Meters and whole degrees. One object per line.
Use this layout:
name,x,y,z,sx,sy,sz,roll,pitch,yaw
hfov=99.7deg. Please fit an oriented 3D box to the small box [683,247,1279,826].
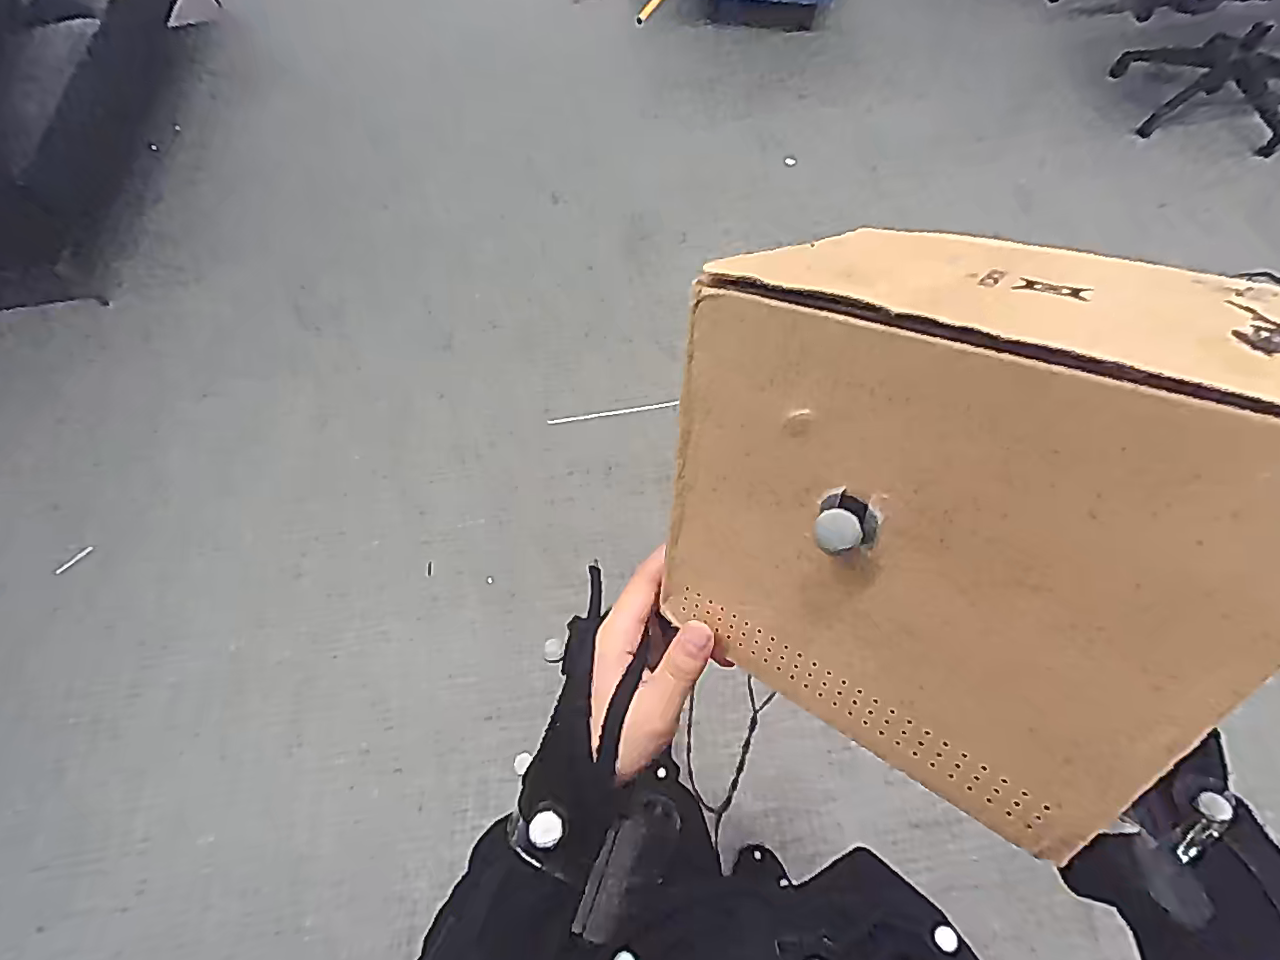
small box,0.133,0.004,0.244,0.179,0.176,0.168,25,41,31
